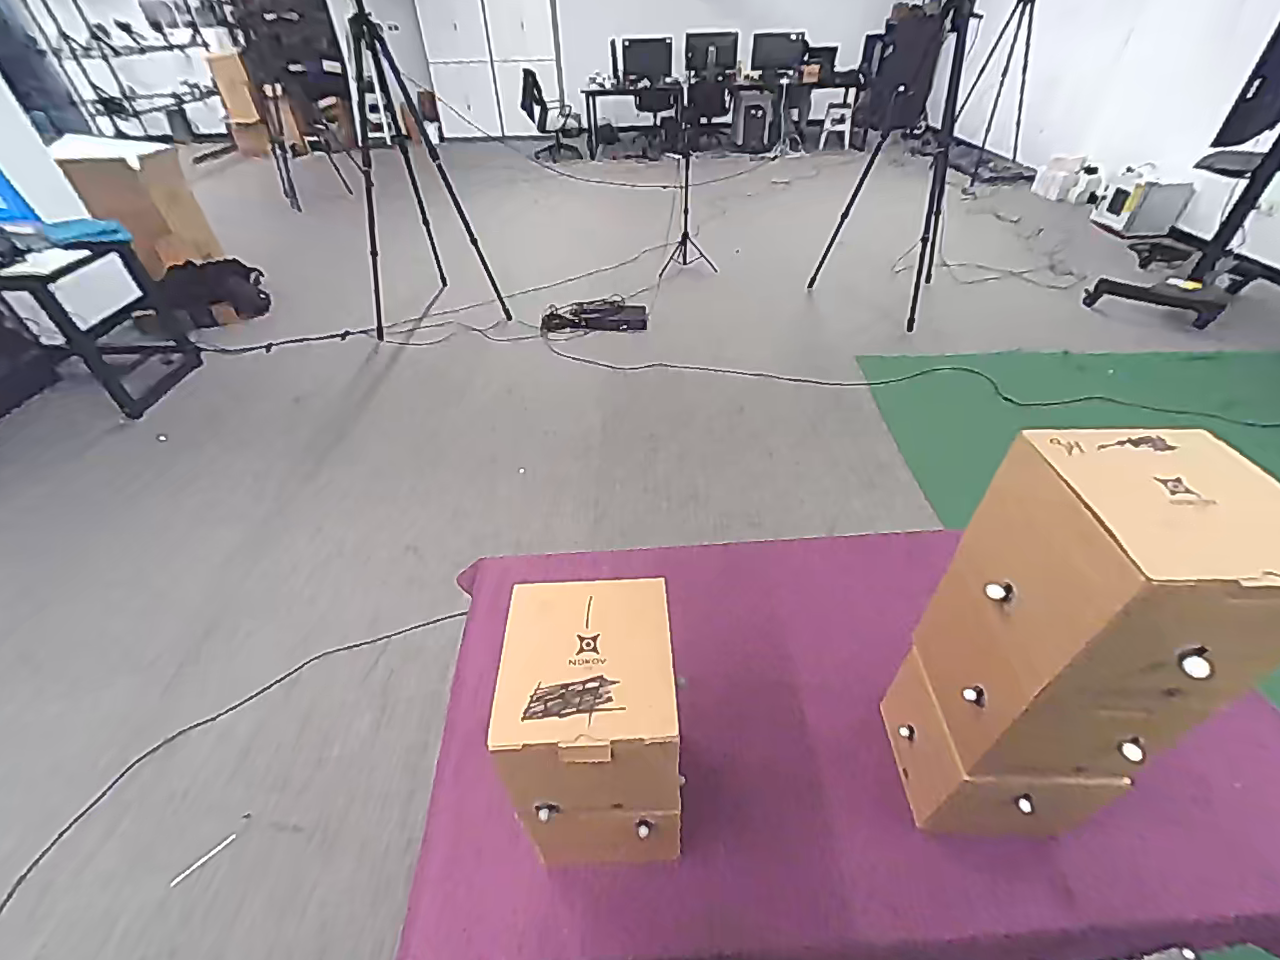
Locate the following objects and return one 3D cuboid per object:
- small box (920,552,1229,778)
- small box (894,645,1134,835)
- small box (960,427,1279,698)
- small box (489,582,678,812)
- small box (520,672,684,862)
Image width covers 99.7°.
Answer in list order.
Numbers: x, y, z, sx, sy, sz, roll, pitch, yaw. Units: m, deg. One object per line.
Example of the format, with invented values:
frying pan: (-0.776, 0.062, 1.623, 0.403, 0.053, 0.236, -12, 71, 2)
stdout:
small box: (0.430, 0.197, 0.579, 0.168, 0.176, 0.179, 0, 40, 4)
small box: (0.438, 0.325, 0.679, 0.179, 0.176, 0.168, 0, 42, 4)
small box: (0.419, 0.072, 0.472, 0.168, 0.176, 0.179, 0, 42, 3)
small box: (-0.047, 0.232, 0.575, 0.168, 0.176, 0.179, -3, 39, 0)
small box: (-0.038, 0.359, 0.679, 0.179, 0.176, 0.168, -3, 41, 1)
